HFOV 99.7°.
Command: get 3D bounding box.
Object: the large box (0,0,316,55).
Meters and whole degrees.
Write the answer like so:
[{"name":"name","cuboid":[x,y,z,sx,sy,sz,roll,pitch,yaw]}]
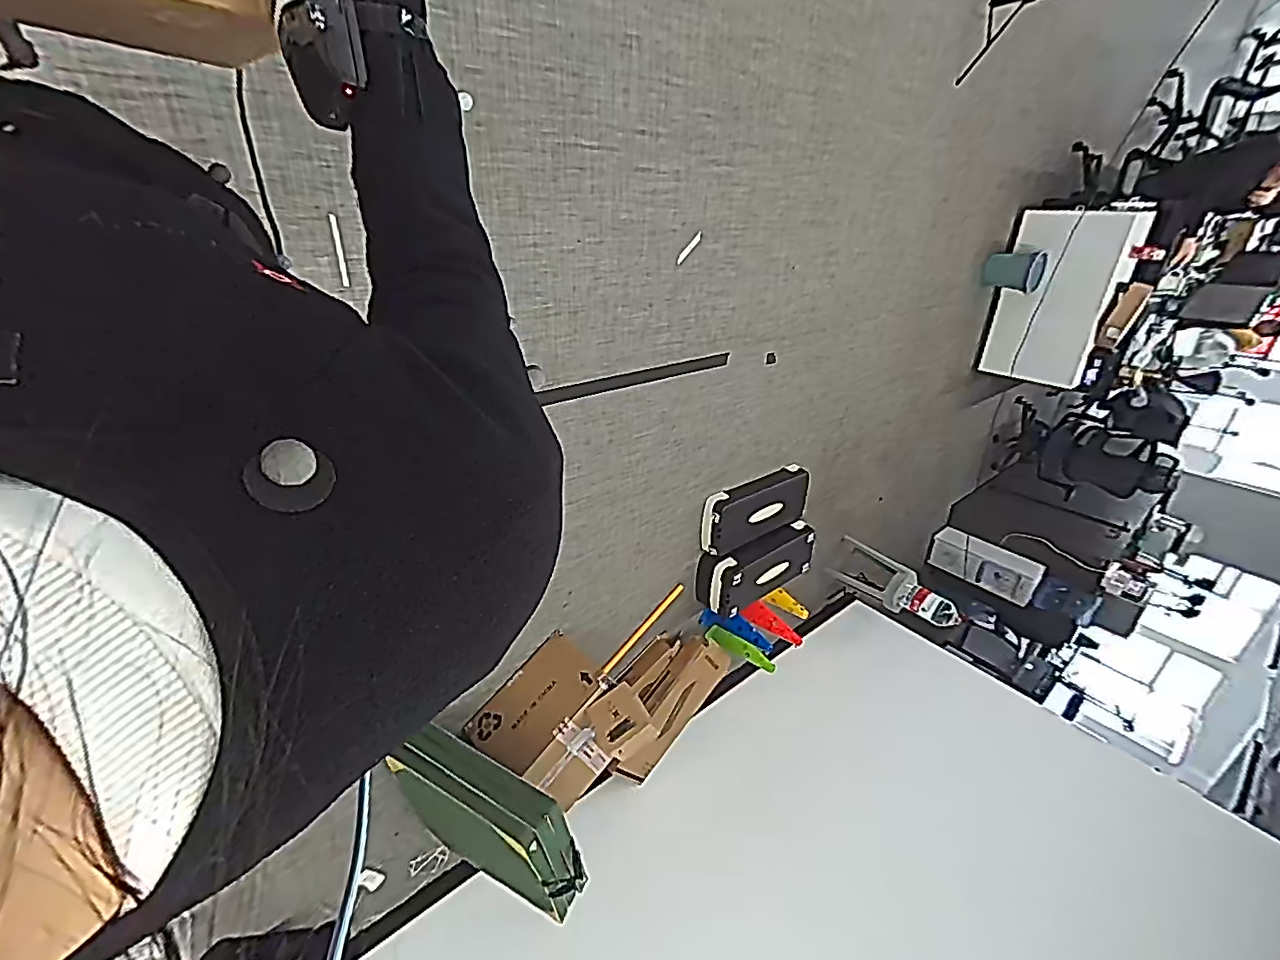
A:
[{"name":"large box","cuboid":[-0.452,-0.460,0.269,0.408,0.320,0.320,-18,127,-40]}]
